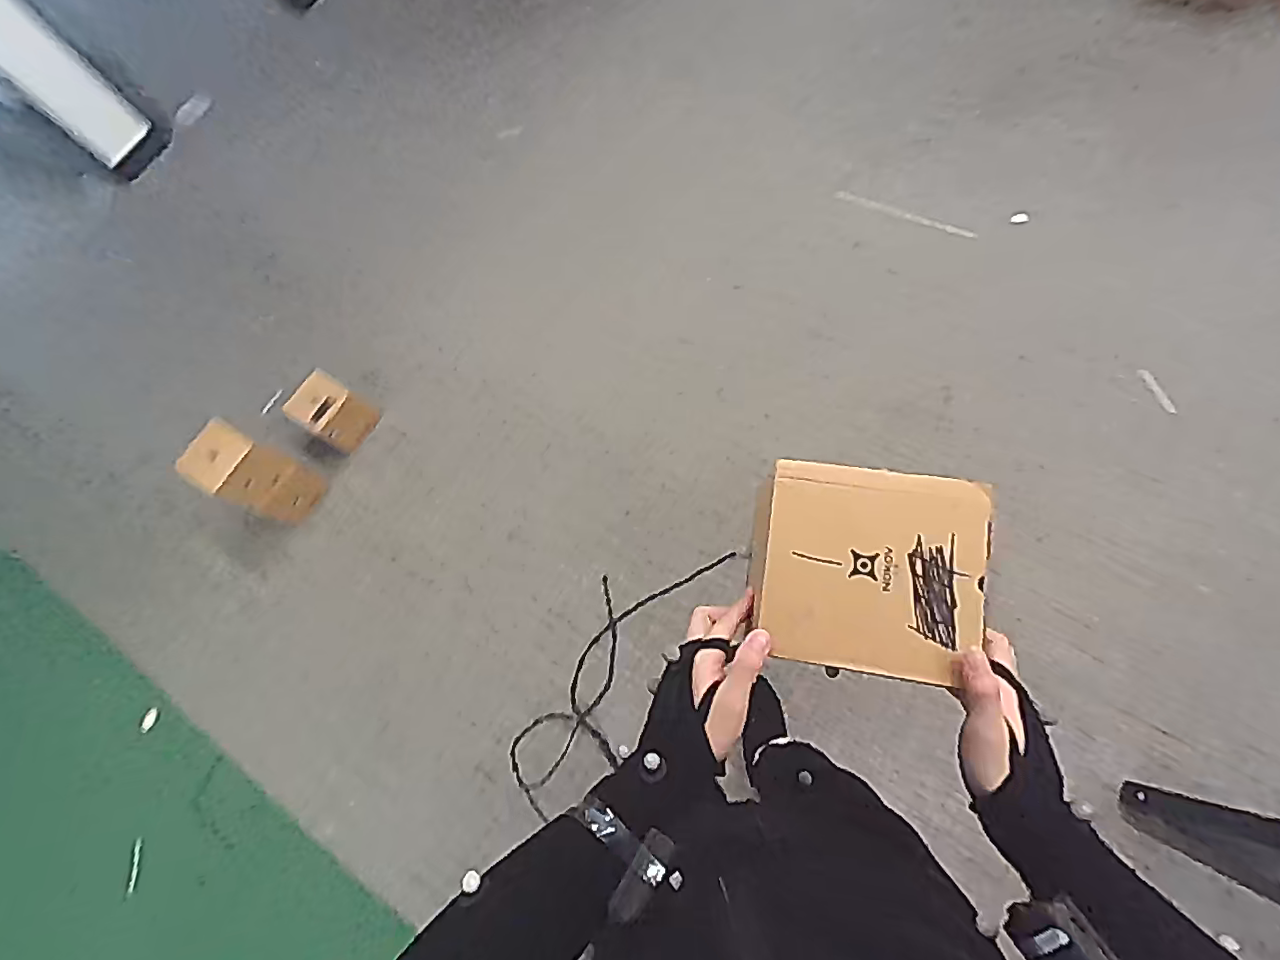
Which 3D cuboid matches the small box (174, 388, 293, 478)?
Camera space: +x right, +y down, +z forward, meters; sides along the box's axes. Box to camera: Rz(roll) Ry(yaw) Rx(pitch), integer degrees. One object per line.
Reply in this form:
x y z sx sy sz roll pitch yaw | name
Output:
-1.143 -0.125 1.537 0.179 0.176 0.168 30 78 16 | small box

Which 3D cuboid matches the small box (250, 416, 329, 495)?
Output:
-1.124 -0.071 1.689 0.179 0.176 0.168 33 78 17 | small box
